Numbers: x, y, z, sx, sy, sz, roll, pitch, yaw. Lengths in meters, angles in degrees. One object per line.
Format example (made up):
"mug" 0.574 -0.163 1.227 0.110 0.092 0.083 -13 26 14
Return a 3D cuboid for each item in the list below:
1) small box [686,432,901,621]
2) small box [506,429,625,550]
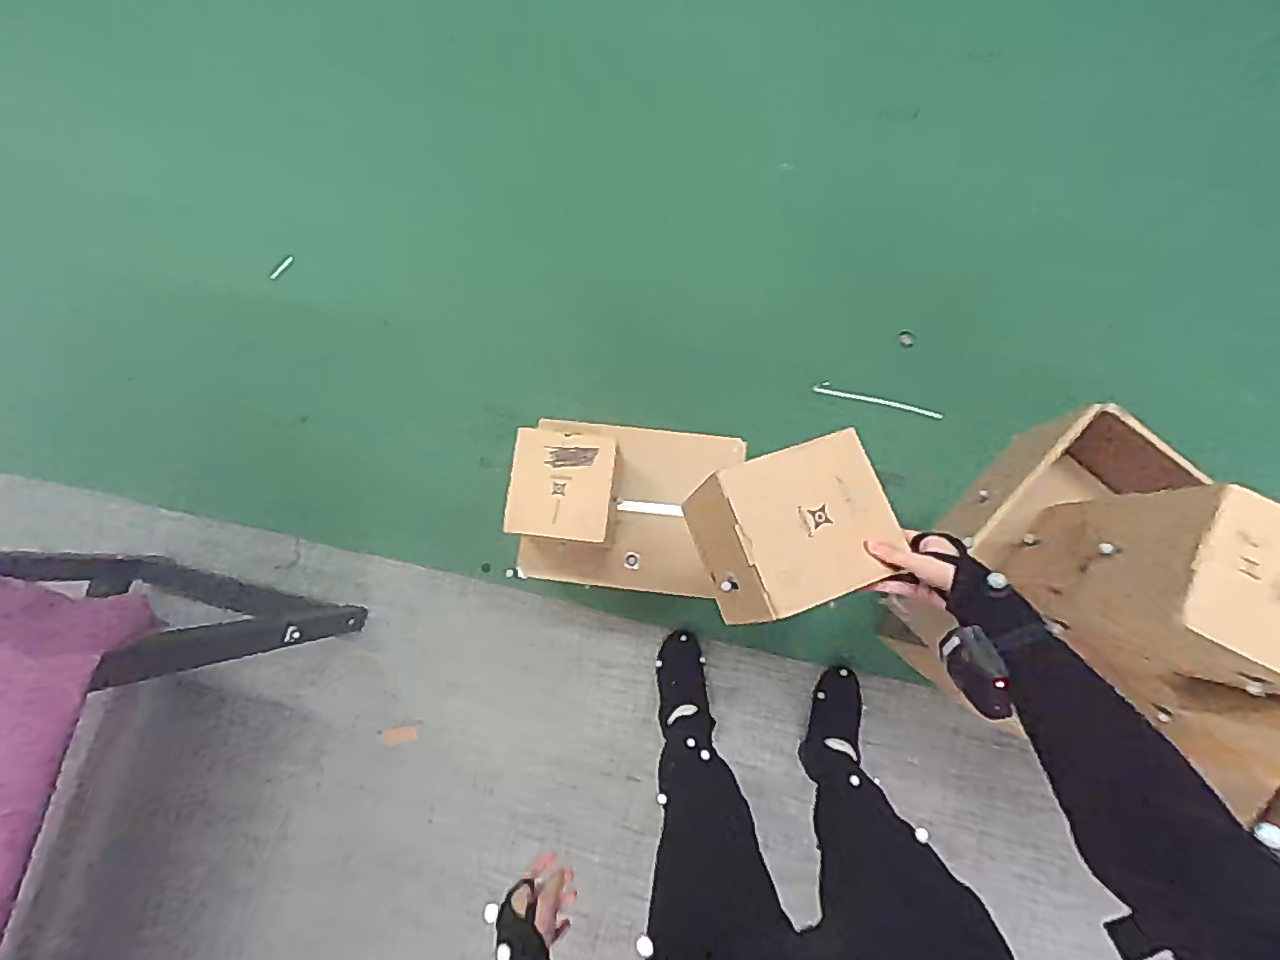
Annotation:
"small box" 0.167 0.066 0.660 0.179 0.176 0.168 -16 76 -13
"small box" -0.120 0.024 0.949 0.168 0.176 0.179 6 80 4
